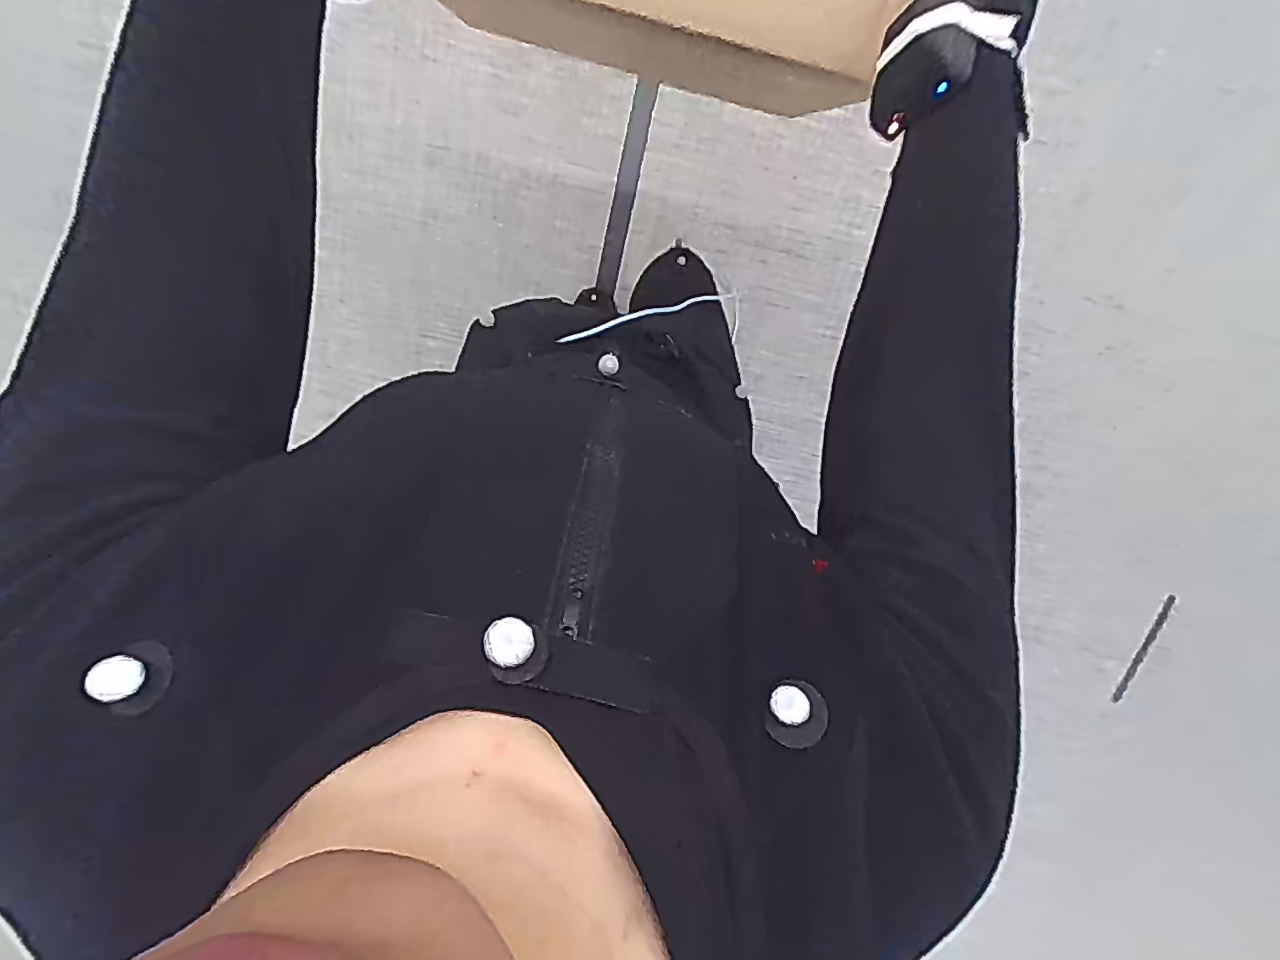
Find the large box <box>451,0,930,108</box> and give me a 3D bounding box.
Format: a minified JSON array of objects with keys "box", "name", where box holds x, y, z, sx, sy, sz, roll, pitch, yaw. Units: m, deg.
[{"box":[0.036,-0.547,0.451,0.408,0.320,0.320,10,121,-8],"name":"large box"}]
